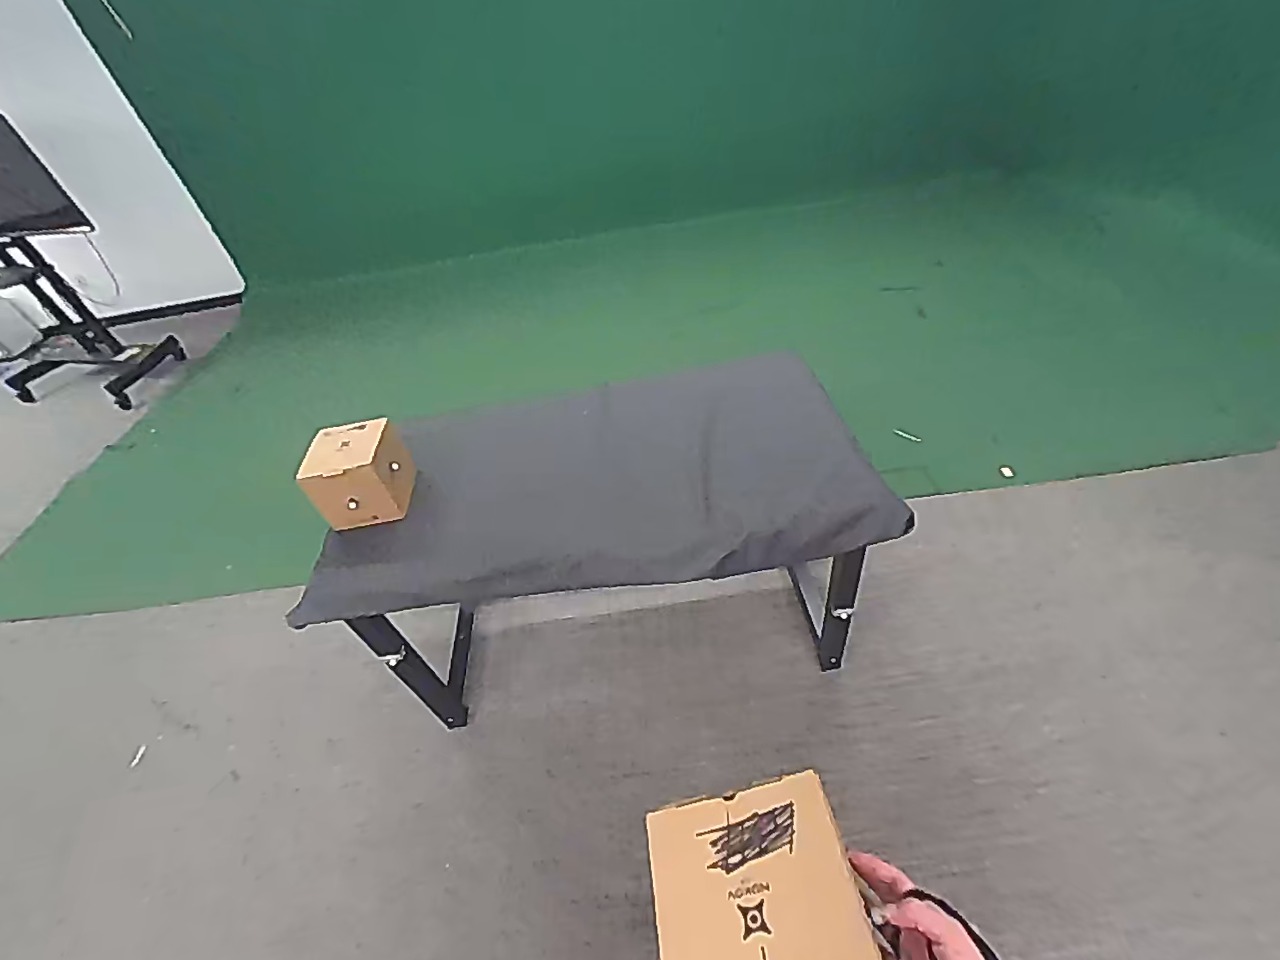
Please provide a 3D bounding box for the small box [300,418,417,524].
[{"bbox_3d":[-0.636,-0.015,1.248,0.168,0.176,0.179,-10,44,-1],"label":"small box"}]
